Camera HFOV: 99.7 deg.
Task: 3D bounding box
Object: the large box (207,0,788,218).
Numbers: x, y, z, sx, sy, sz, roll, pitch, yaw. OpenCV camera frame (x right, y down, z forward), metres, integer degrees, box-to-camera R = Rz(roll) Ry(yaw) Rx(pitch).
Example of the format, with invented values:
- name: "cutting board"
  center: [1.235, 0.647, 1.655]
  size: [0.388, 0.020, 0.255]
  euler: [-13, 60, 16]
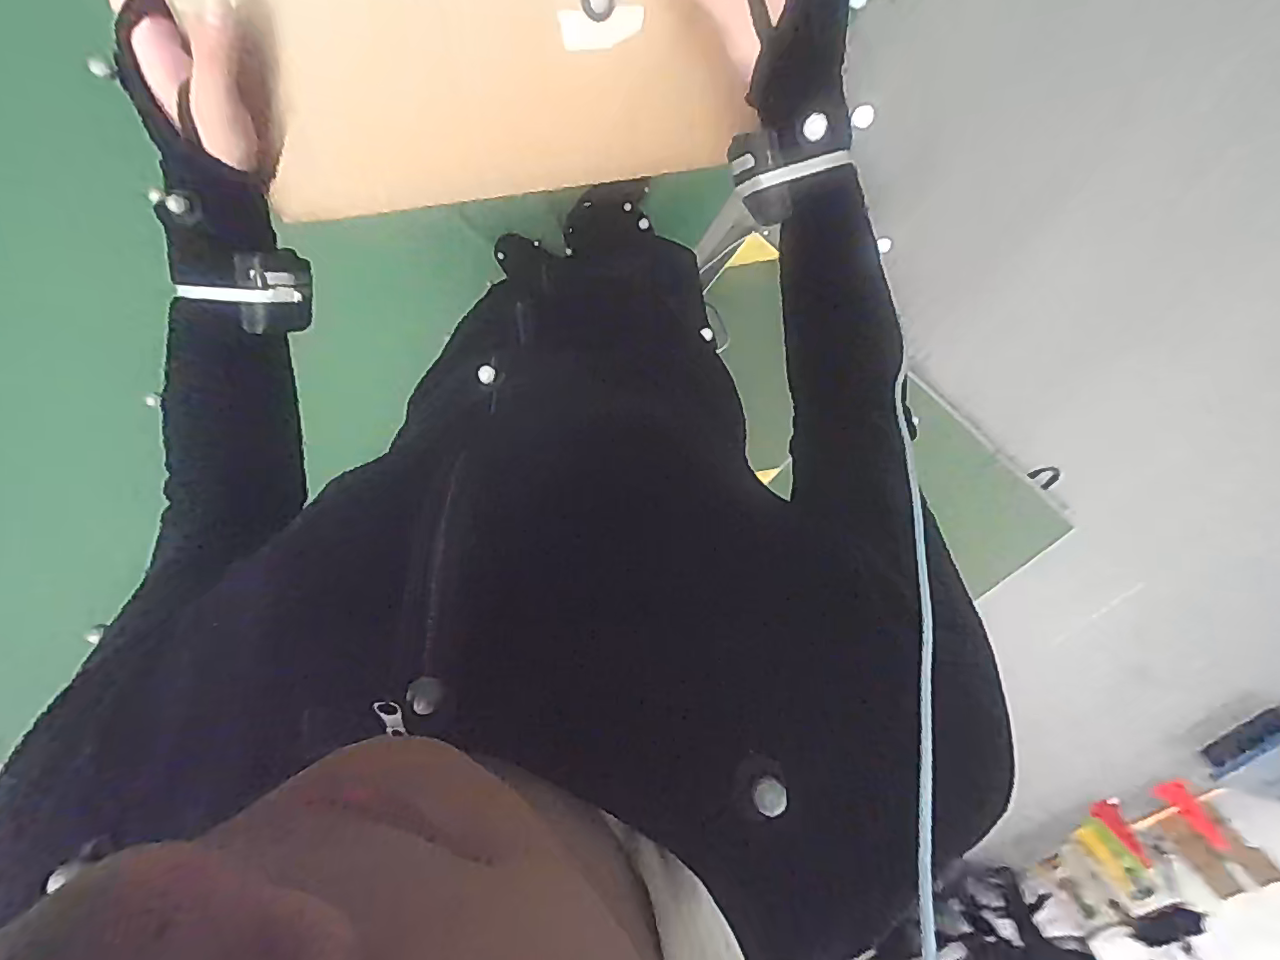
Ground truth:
- name: "large box"
  center: [-0.115, -0.456, 0.461]
  size: [0.408, 0.320, 0.320]
  euler: [-10, 133, -5]
